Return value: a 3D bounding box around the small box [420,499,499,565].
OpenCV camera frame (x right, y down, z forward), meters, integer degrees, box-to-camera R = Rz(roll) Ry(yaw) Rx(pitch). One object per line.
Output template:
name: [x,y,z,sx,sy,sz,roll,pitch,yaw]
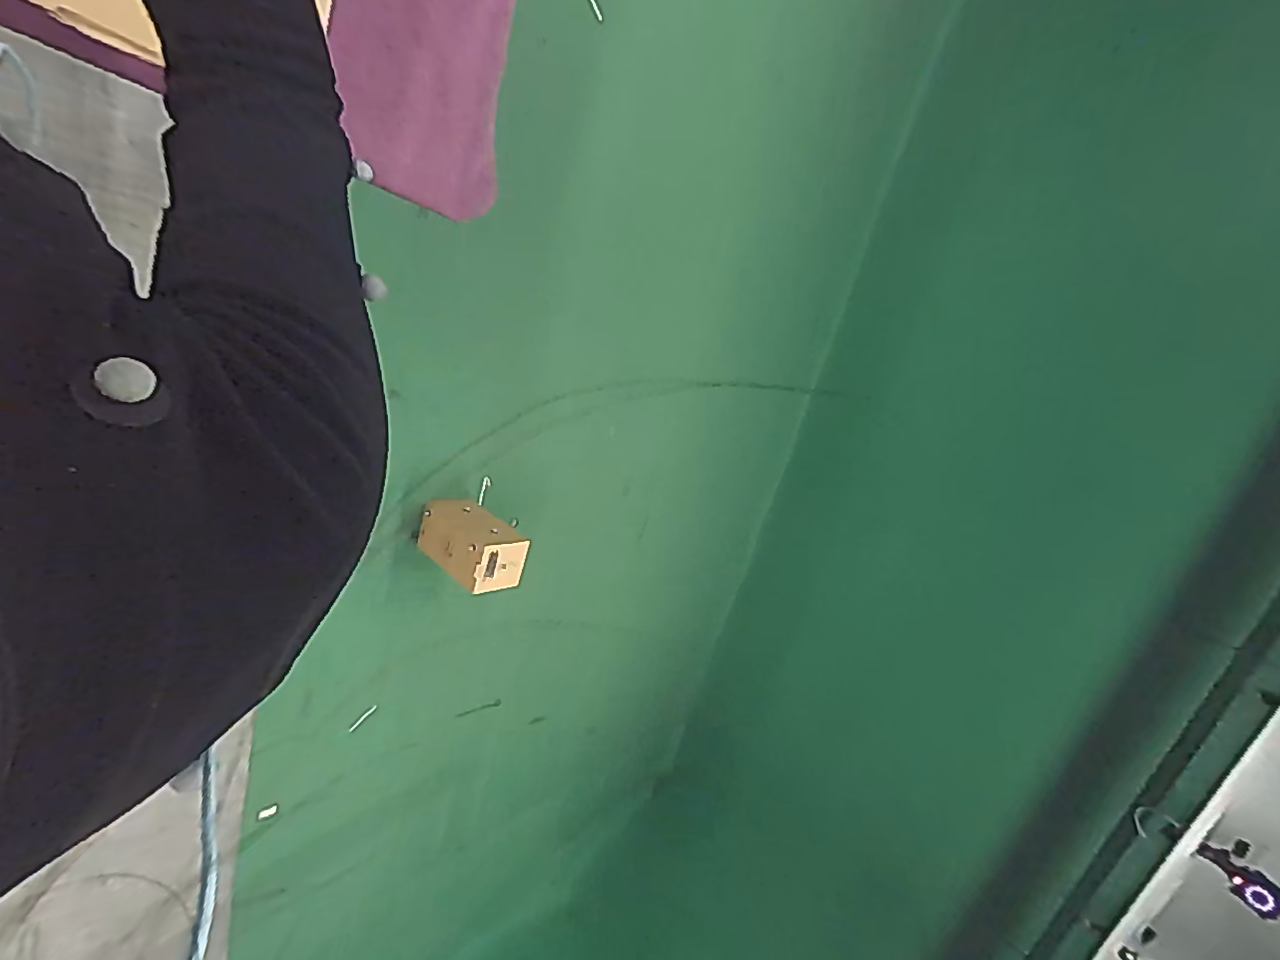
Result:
small box: [-0.610,0.169,1.813,0.179,0.176,0.168,0,113,-53]
